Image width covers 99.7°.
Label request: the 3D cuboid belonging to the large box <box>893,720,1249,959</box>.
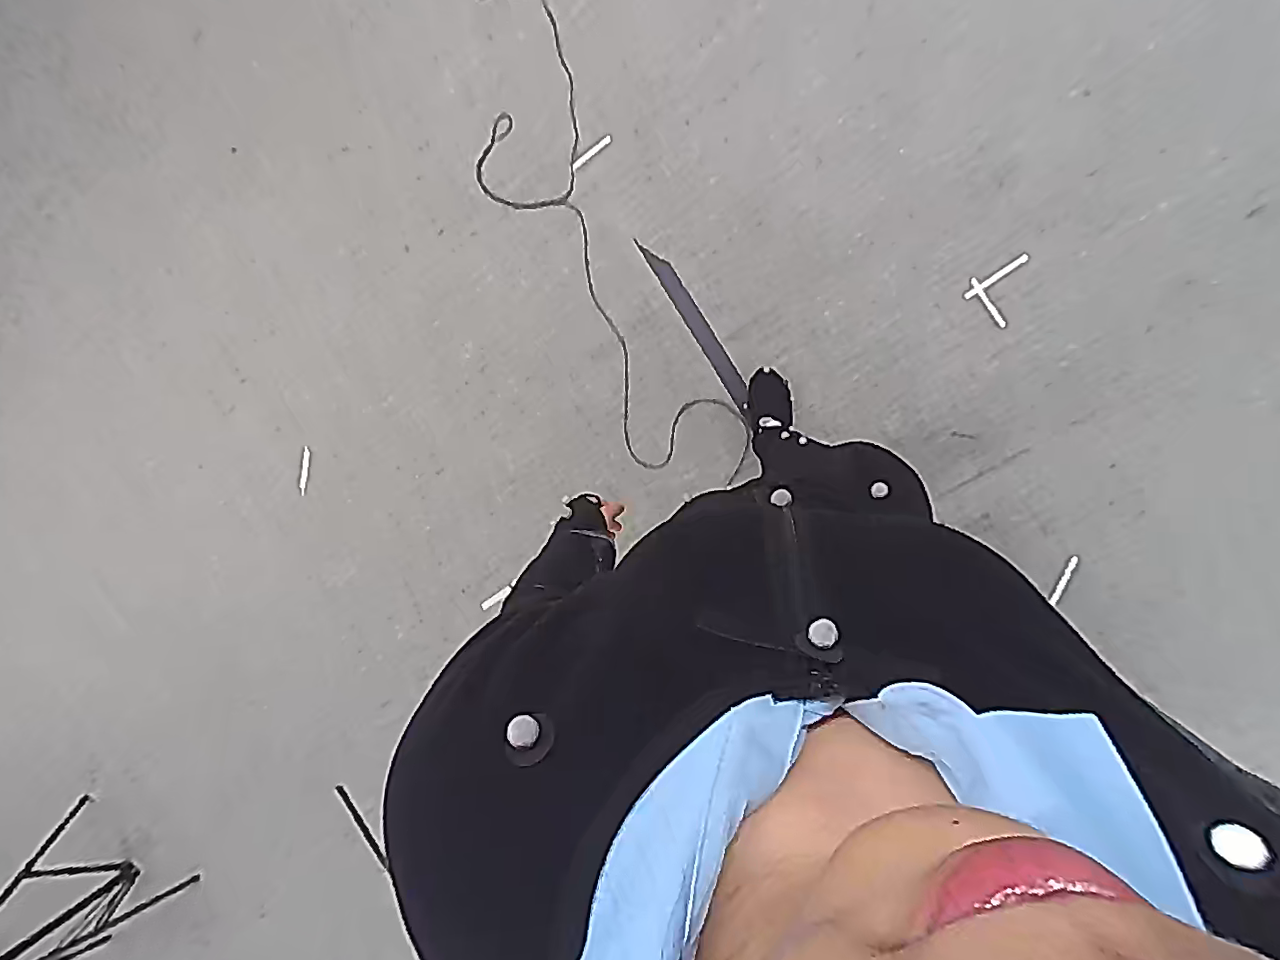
[{"bbox_3d":[0.795,0.751,1.073,0.408,0.320,0.320,-27,90,13],"label":"large box"}]
